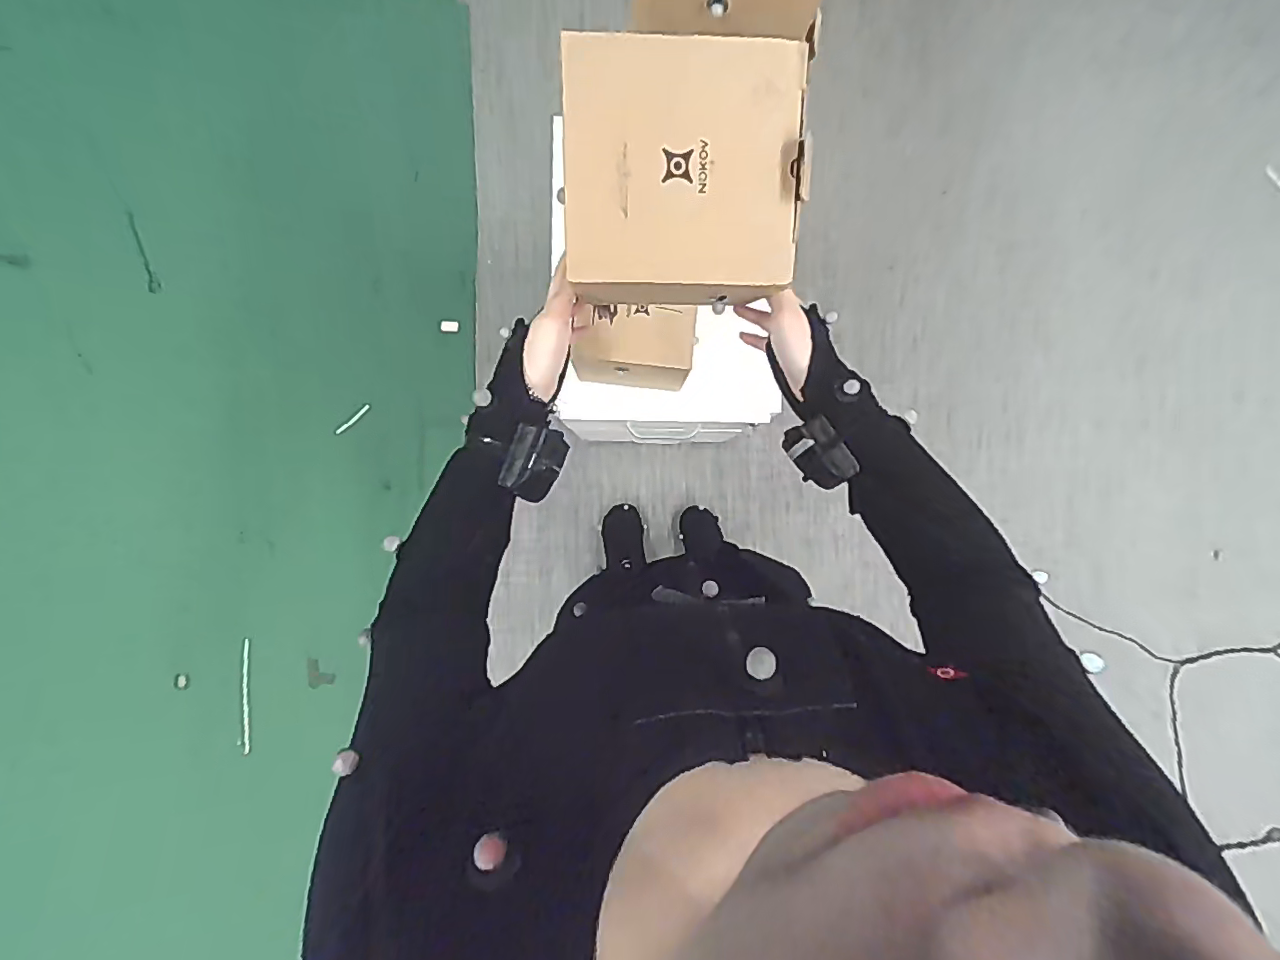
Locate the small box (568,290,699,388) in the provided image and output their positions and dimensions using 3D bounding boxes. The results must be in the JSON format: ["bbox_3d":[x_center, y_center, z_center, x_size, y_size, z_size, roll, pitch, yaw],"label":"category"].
[{"bbox_3d":[-0.007,-0.244,0.835,0.179,0.176,0.168,6,88,-1],"label":"small box"}]

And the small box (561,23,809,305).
[{"bbox_3d":[0.028,-0.248,0.468,0.179,0.176,0.168,0,101,-1],"label":"small box"}]
